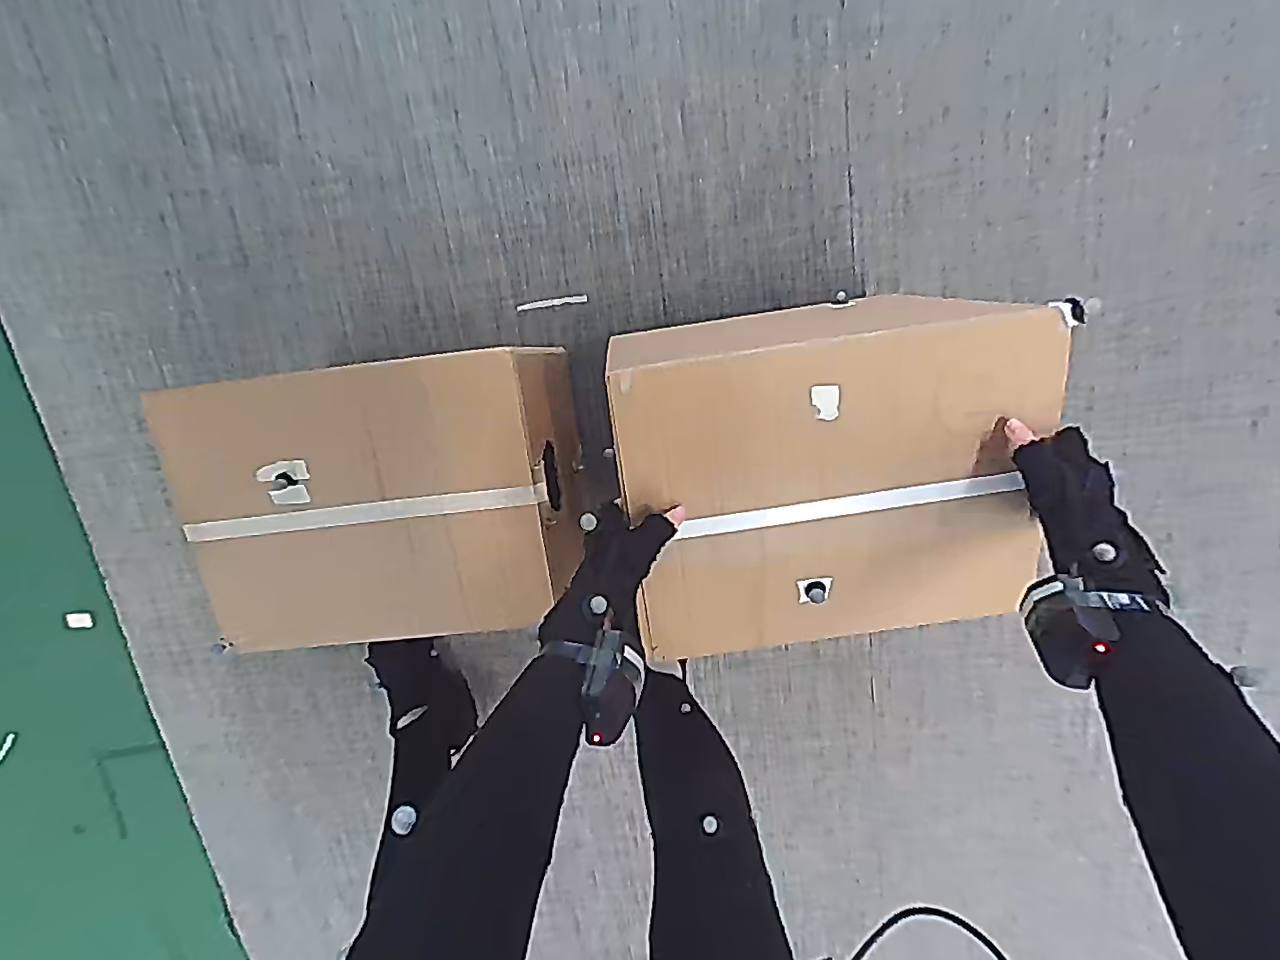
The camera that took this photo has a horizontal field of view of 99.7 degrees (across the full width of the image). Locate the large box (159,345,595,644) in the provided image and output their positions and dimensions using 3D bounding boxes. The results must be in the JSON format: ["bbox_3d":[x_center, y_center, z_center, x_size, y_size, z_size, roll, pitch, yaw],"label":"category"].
[{"bbox_3d":[-0.297,-0.005,0.745,0.408,0.320,0.320,-5,103,5],"label":"large box"}]
